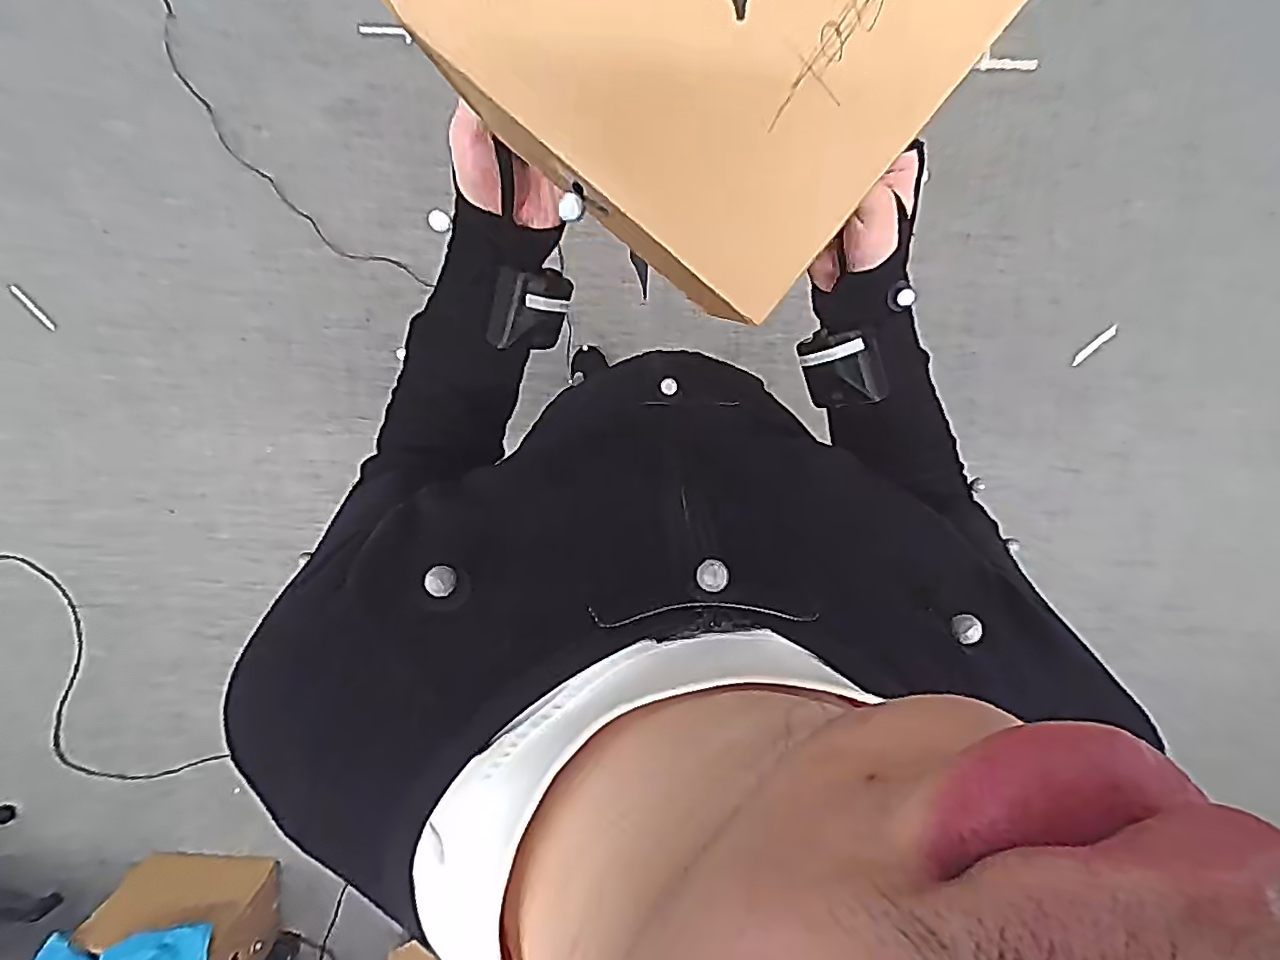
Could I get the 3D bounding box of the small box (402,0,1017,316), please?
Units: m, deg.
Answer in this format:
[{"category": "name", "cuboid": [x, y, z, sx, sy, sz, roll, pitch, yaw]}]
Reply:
[{"category": "small box", "cuboid": [0.030, -0.202, 0.266, 0.179, 0.176, 0.168, 36, 107, -12]}]
